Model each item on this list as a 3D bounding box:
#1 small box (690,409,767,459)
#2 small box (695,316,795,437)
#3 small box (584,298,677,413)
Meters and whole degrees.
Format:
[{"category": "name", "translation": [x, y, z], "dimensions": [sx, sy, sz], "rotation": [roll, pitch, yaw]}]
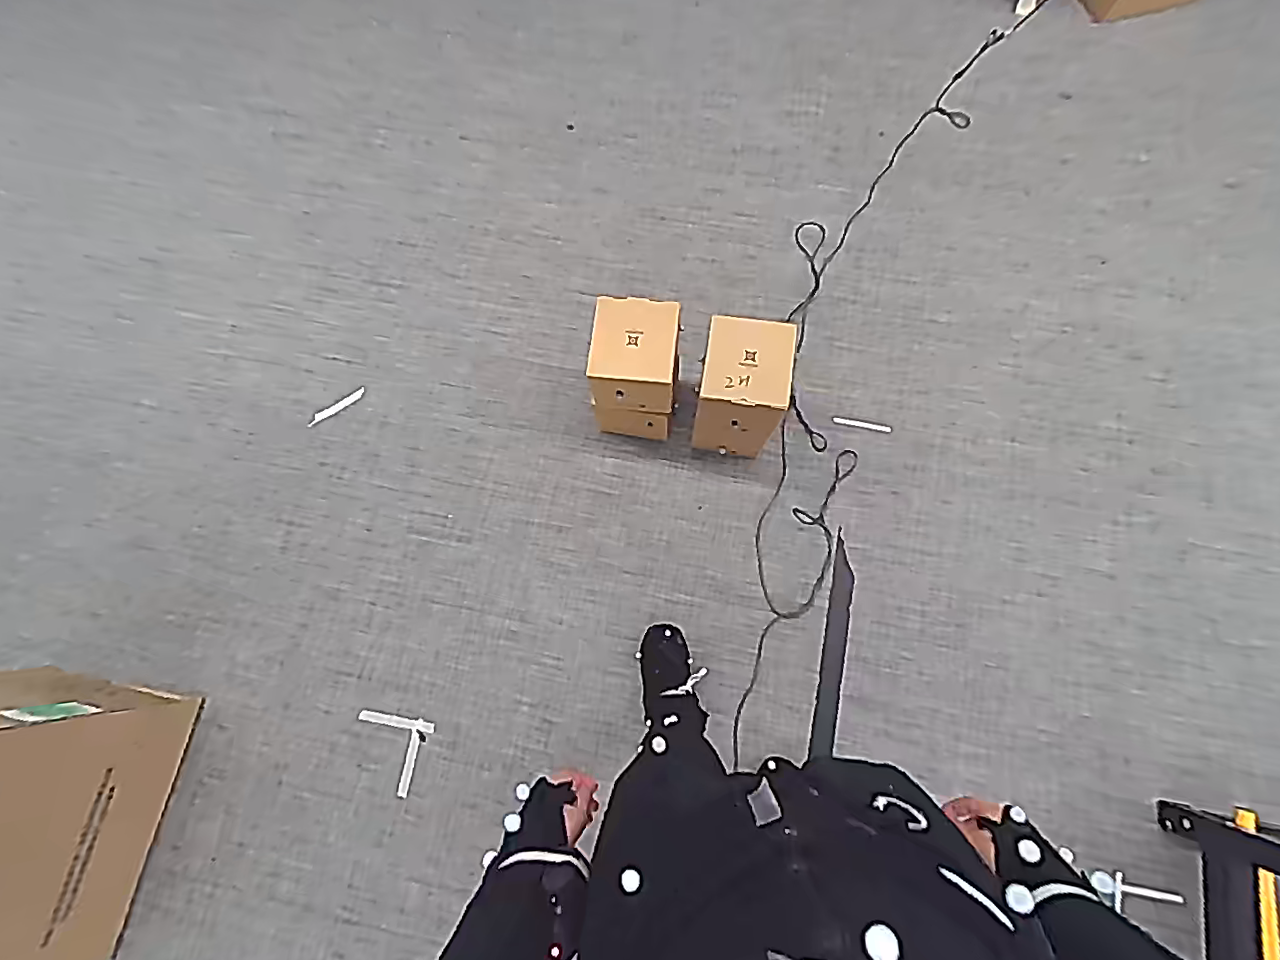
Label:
[{"category": "small box", "translation": [0.212, -0.165, 1.258], "dimensions": [0.168, 0.176, 0.179], "rotation": [11, 78, 5]}, {"category": "small box", "translation": [0.205, -0.204, 1.098], "dimensions": [0.168, 0.176, 0.179], "rotation": [9, 77, 5]}, {"category": "small box", "translation": [-0.012, -0.251, 1.123], "dimensions": [0.168, 0.176, 0.179], "rotation": [6, 75, 4]}]
